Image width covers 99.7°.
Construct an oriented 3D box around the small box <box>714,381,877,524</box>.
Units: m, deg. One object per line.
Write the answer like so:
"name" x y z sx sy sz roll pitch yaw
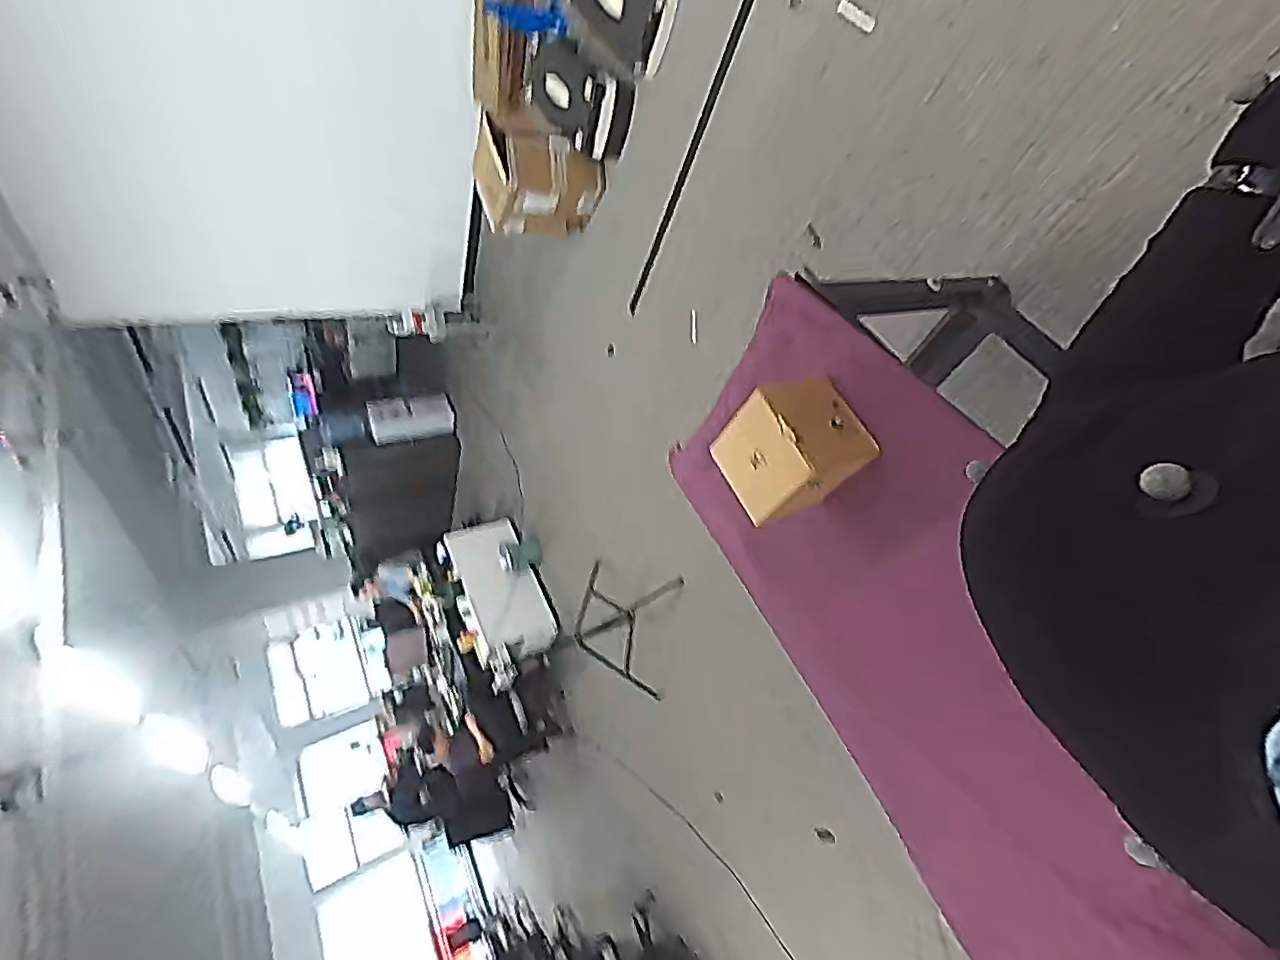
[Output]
"small box" 0.265 -0.049 0.936 0.168 0.176 0.179 61 146 22
